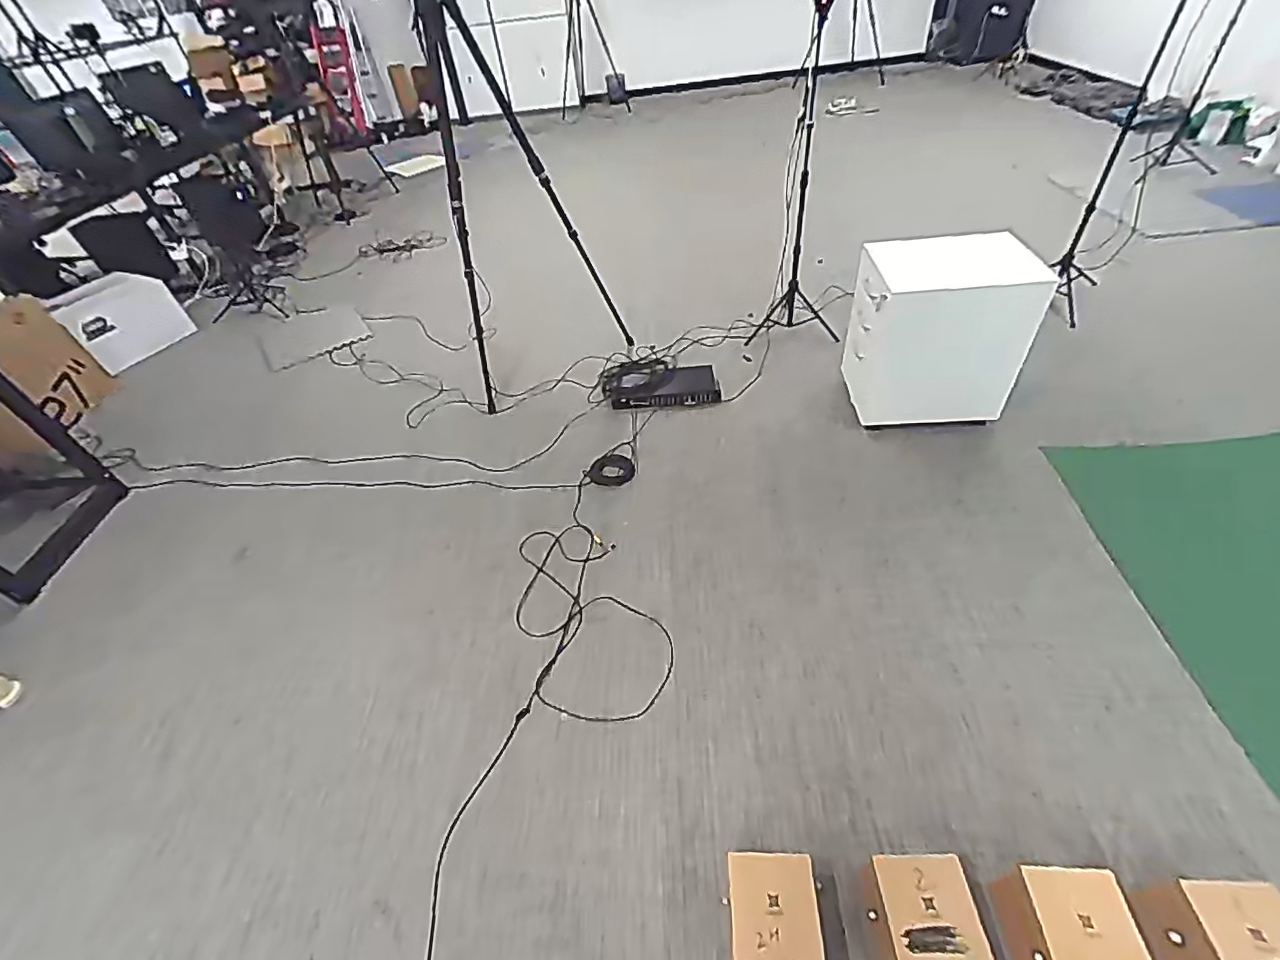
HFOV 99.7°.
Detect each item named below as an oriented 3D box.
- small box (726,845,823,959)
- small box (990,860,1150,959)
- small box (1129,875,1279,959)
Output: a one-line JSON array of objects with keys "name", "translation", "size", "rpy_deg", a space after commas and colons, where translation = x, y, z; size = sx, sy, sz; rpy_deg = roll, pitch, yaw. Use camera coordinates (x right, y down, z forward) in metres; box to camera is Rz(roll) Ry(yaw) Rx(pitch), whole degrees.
[{"name": "small box", "translation": [0.262, 0.862, 1.092], "size": [0.168, 0.176, 0.179], "rpy_deg": [-2, 46, 7]}, {"name": "small box", "translation": [0.807, 0.851, 1.031], "size": [0.168, 0.176, 0.179], "rpy_deg": [-1, 46, 6]}, {"name": "small box", "translation": [1.074, 0.851, 0.995], "size": [0.168, 0.176, 0.179], "rpy_deg": [-2, 45, 6]}]
